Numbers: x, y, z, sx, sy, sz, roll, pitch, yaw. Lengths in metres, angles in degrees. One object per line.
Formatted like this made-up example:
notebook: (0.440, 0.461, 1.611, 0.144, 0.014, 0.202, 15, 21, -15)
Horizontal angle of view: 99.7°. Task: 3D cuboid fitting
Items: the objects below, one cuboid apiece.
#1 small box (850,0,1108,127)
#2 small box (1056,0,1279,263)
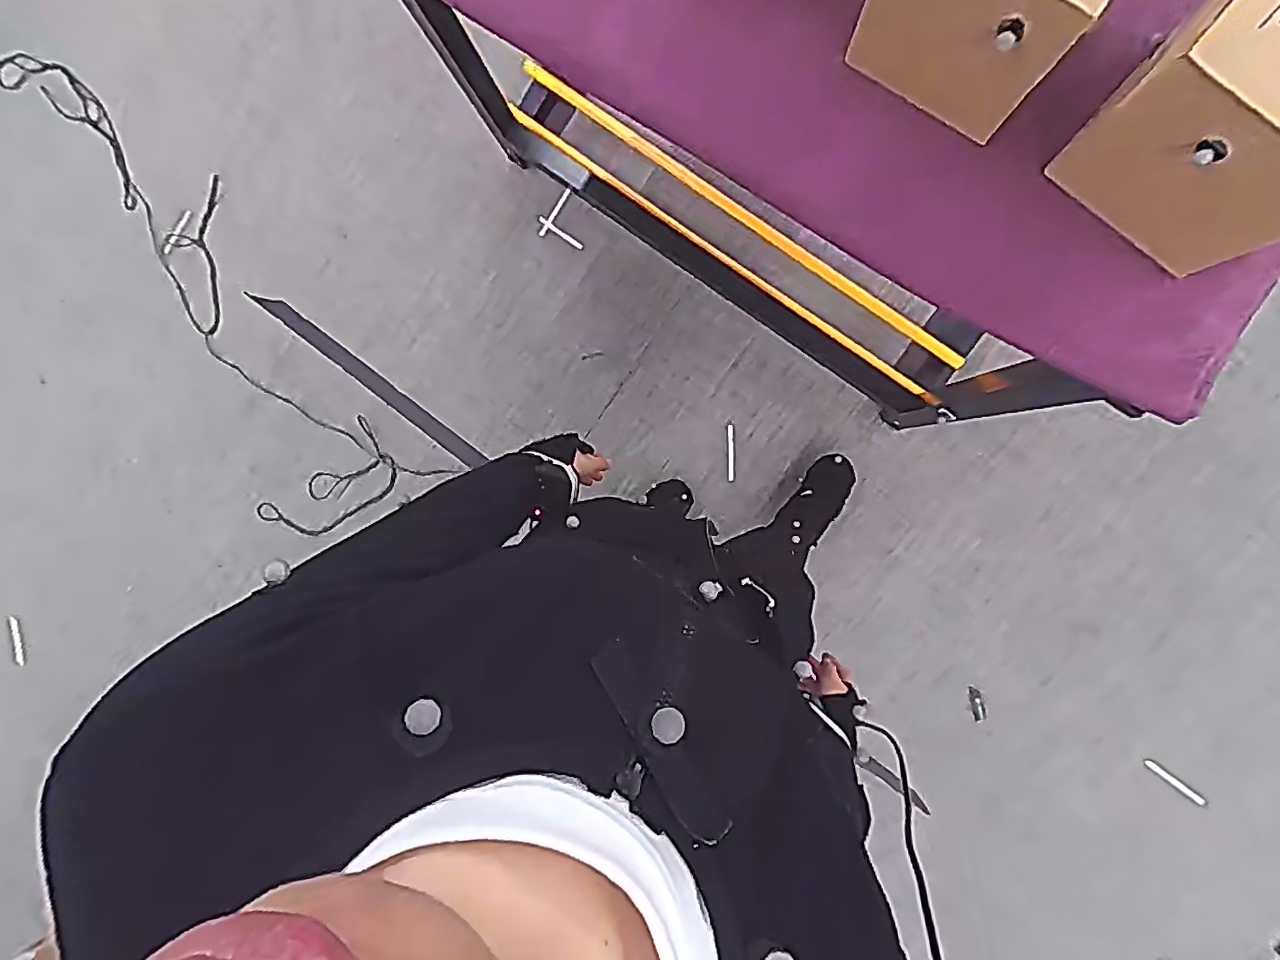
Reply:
small box: (0.325, -0.465, 0.484, 0.179, 0.176, 0.168, 35, 95, 5)
small box: (0.524, -0.322, 0.465, 0.179, 0.176, 0.168, 41, 96, 3)
